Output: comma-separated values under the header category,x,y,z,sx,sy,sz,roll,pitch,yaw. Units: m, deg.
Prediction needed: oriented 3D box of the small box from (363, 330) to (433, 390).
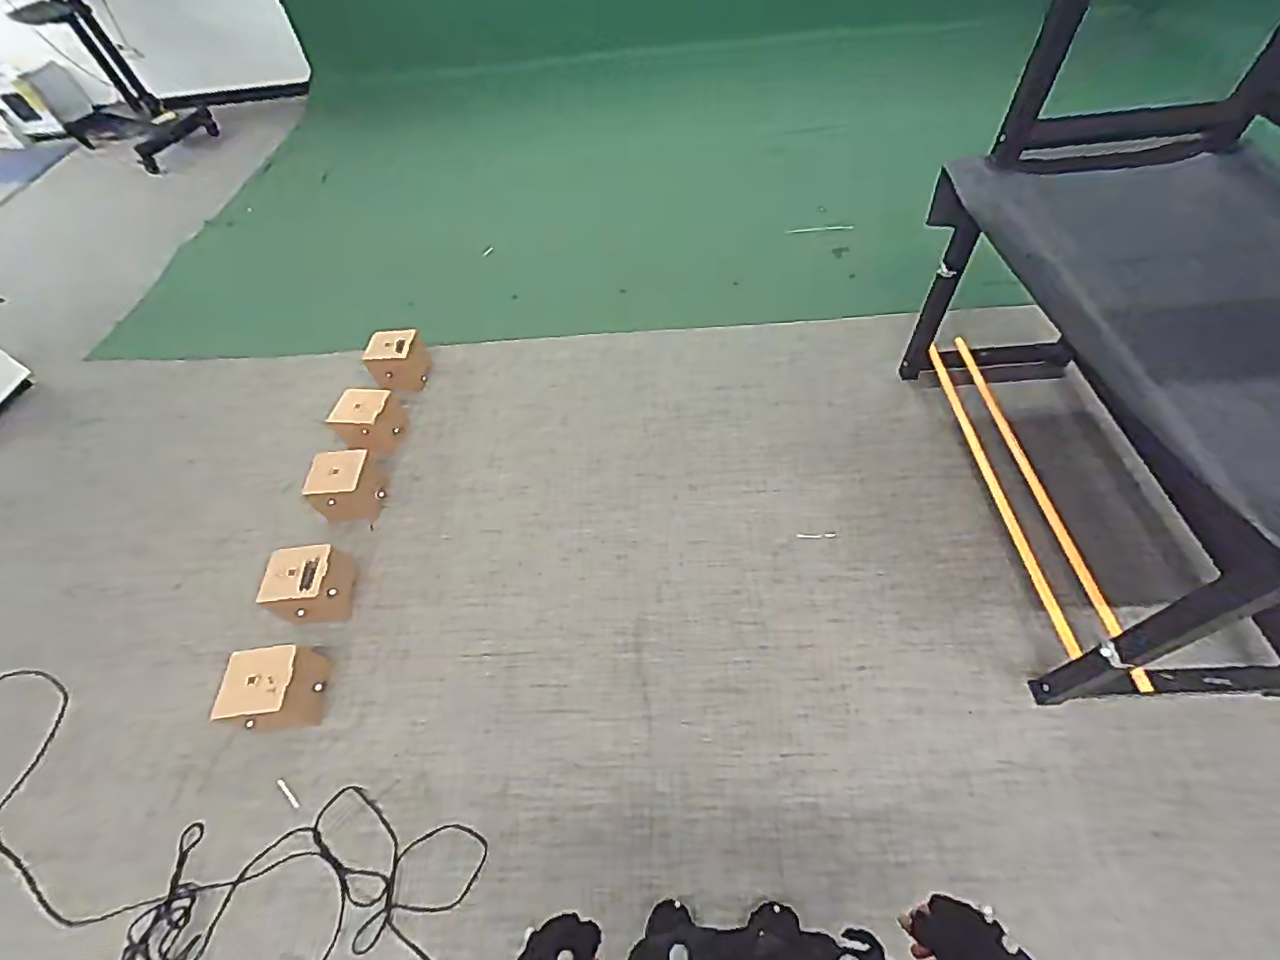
category,x,y,z,sx,sy,sz,roll,pitch,yaw
small box,-0.950,-0.472,2.143,0.179,0.176,0.168,-2,54,5

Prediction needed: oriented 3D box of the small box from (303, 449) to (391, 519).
category,x,y,z,sx,sy,sz,roll,pitch,yaw
small box,-0.962,0.018,1.790,0.179,0.176,0.168,-4,56,1

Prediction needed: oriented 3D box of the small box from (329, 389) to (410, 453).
category,x,y,z,sx,sy,sz,roll,pitch,yaw
small box,-0.971,-0.212,1.958,0.179,0.176,0.168,3,55,7

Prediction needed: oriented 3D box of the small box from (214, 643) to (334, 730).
category,x,y,z,sx,sy,sz,roll,pitch,yaw
small box,-0.944,0.542,1.411,0.179,0.176,0.168,-7,55,0
